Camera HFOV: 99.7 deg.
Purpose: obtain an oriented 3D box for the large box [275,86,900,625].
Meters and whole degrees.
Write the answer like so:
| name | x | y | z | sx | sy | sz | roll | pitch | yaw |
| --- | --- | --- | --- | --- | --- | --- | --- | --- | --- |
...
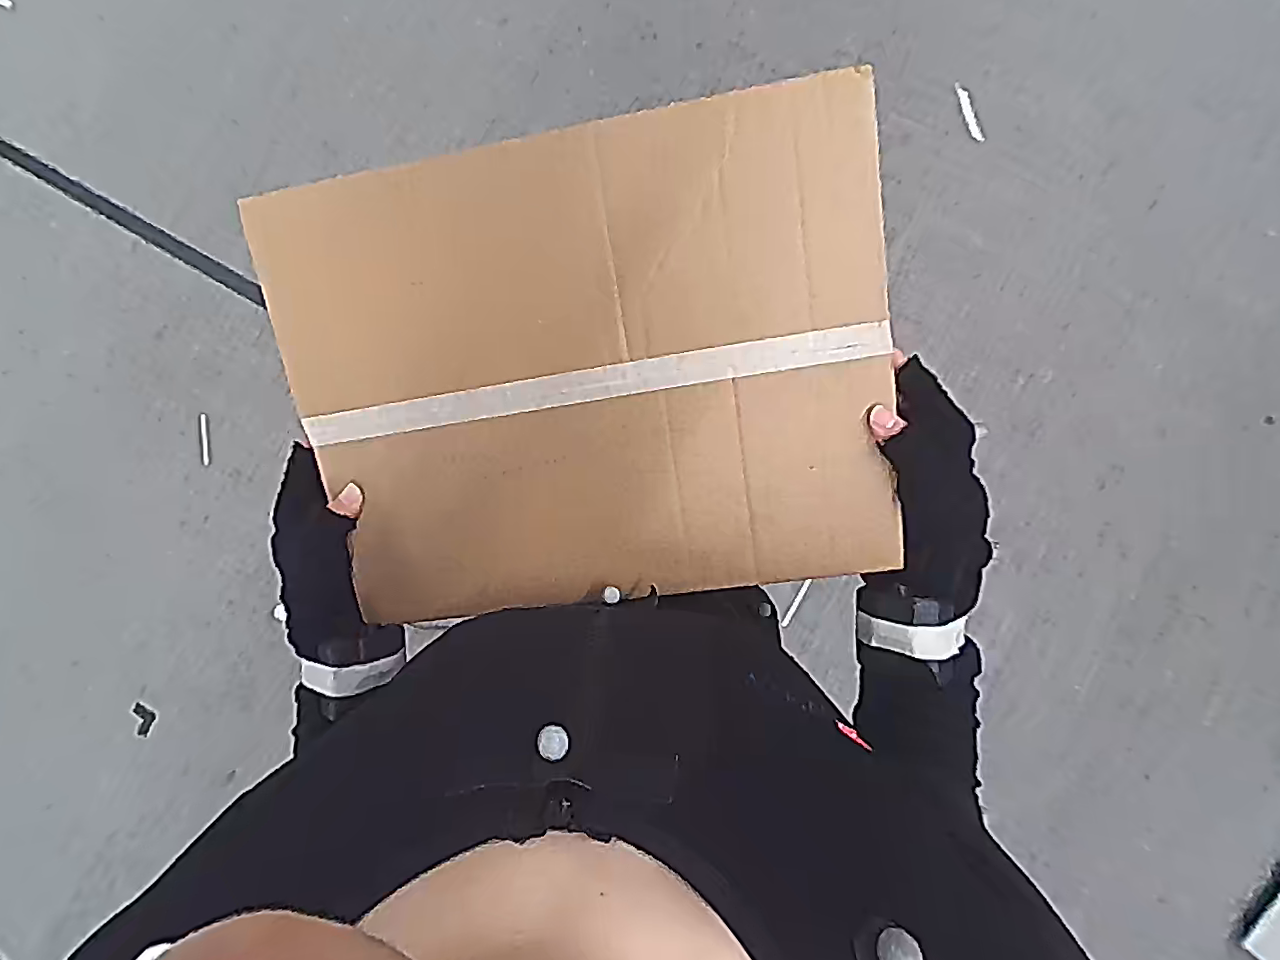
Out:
| name | x | y | z | sx | sy | sz | roll | pitch | yaw |
| --- | --- | --- | --- | --- | --- | --- | --- | --- | --- |
| large box | -0.023 | -0.092 | 0.521 | 0.408 | 0.320 | 0.320 | -8 | 103 | 7 |
